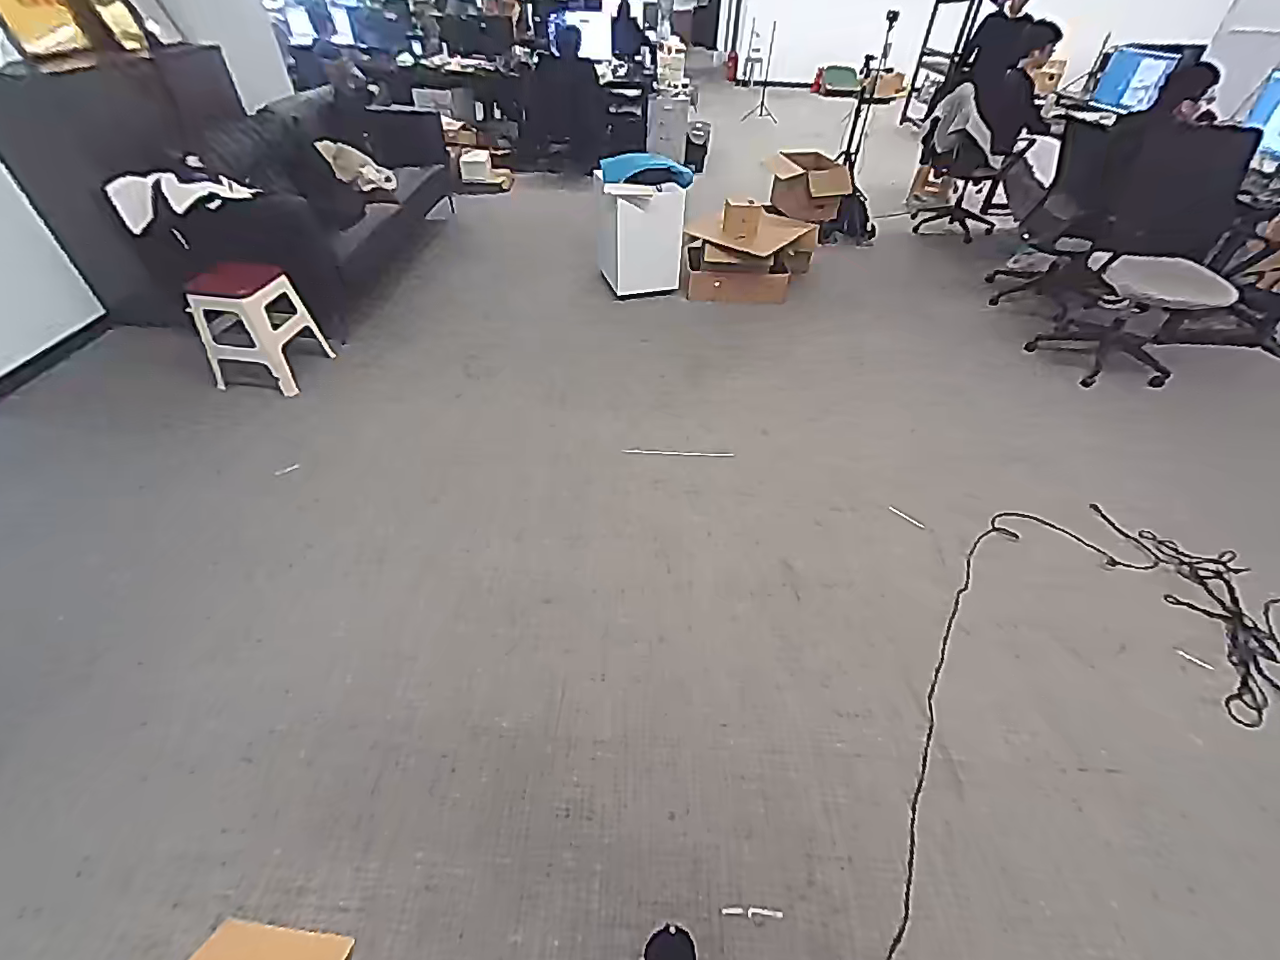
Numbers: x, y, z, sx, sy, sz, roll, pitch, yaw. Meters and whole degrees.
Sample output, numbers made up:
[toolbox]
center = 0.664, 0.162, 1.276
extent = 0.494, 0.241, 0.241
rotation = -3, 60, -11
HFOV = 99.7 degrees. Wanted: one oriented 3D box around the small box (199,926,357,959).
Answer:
[small box]
center = -0.452, 0.655, 0.598
extent = 0.168, 0.179, 0.176
rotation = 10, 84, -3
